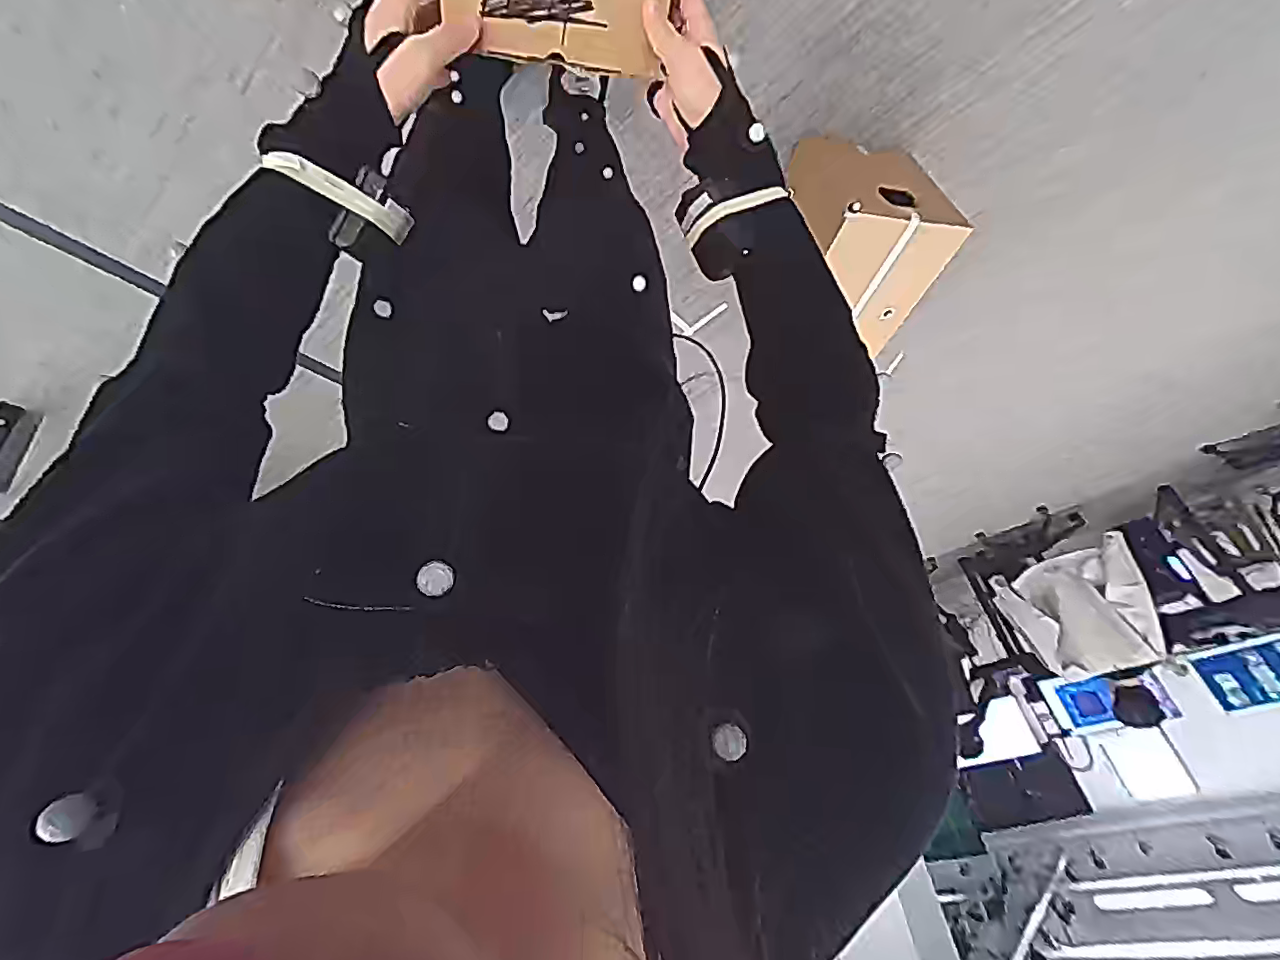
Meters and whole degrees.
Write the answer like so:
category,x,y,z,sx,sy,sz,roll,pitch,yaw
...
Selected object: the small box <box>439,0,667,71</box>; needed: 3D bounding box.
category,x,y,z,sx,sy,sz,roll,pitch,yaw
small box,-0.065,-0.444,0.401,0.168,0.176,0.179,-2,140,-14
